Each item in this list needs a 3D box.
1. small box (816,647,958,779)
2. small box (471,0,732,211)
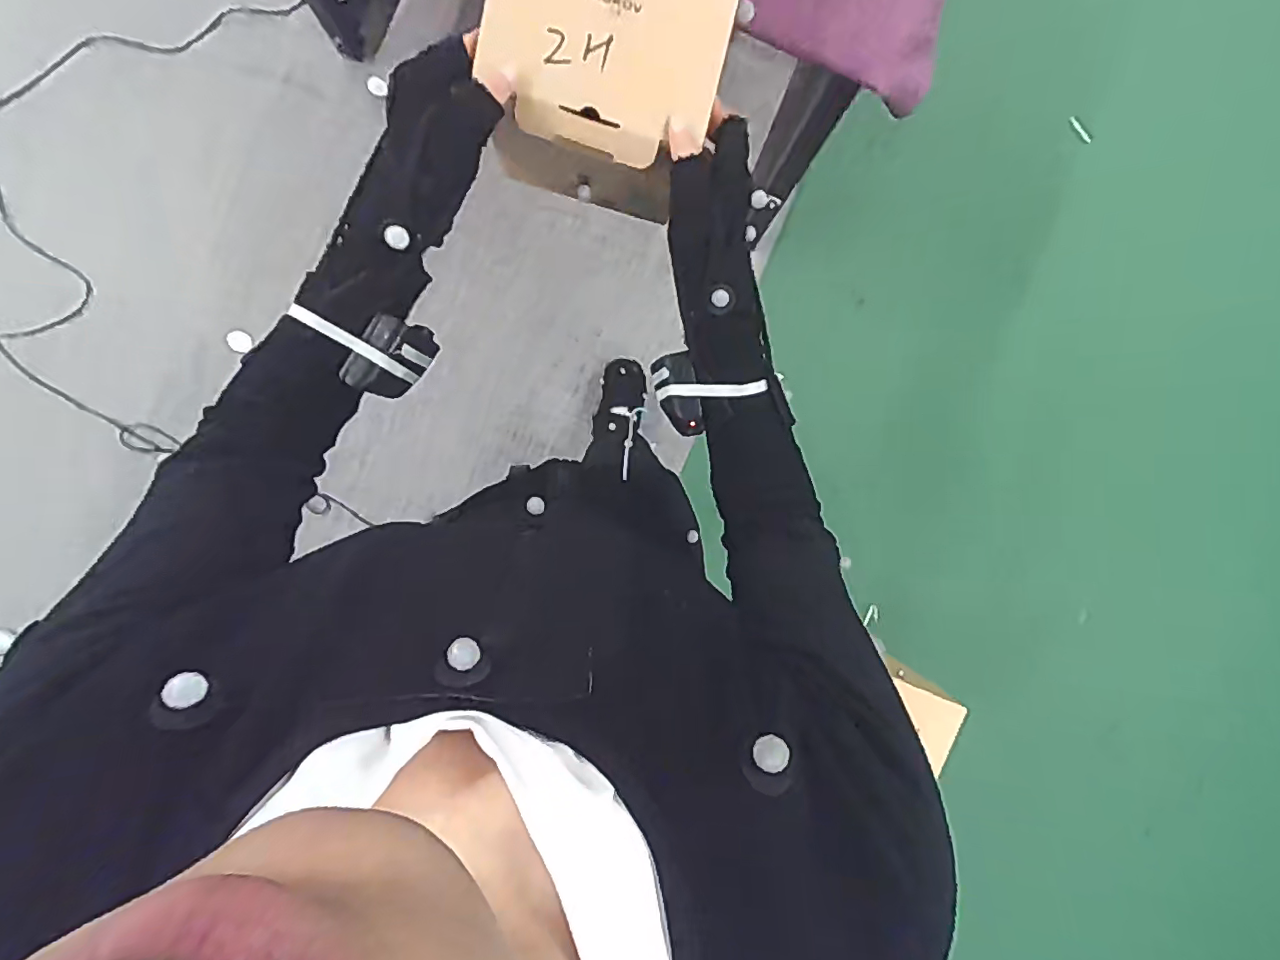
[{"bbox_3d":[0.501,0.471,1.120,0.179,0.176,0.168,23,91,-5],"label":"small box"},{"bbox_3d":[-0.027,-0.357,0.447,0.168,0.176,0.179,13,98,-8],"label":"small box"}]
